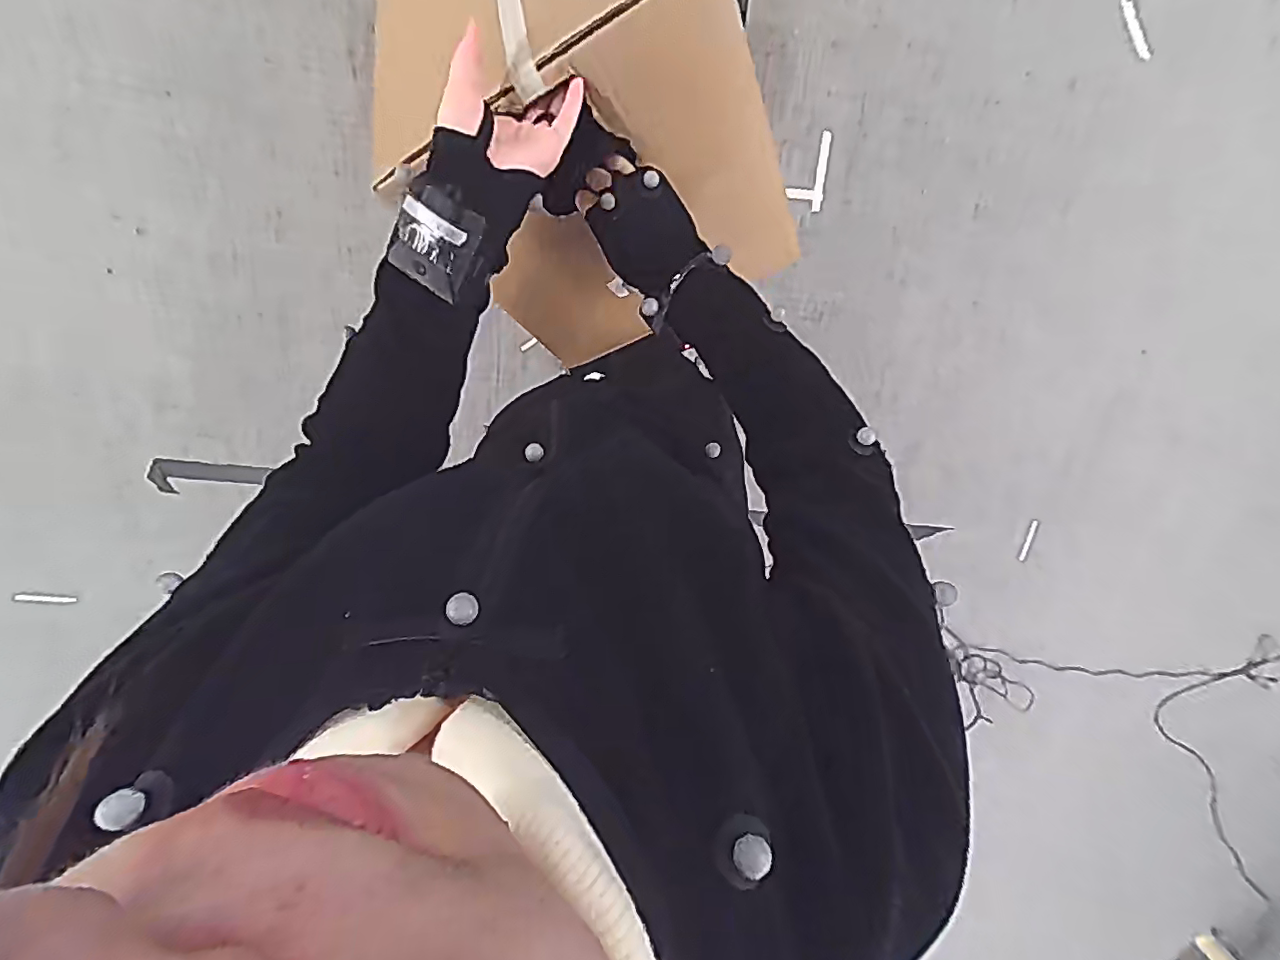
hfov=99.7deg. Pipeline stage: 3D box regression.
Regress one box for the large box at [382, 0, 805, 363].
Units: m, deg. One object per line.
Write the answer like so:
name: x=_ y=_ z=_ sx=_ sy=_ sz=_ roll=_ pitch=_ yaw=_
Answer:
large box: x=-0.052 y=-0.416 z=0.602 sx=0.320 sy=0.408 sz=0.320 roll=-21 pitch=153 yaw=18
